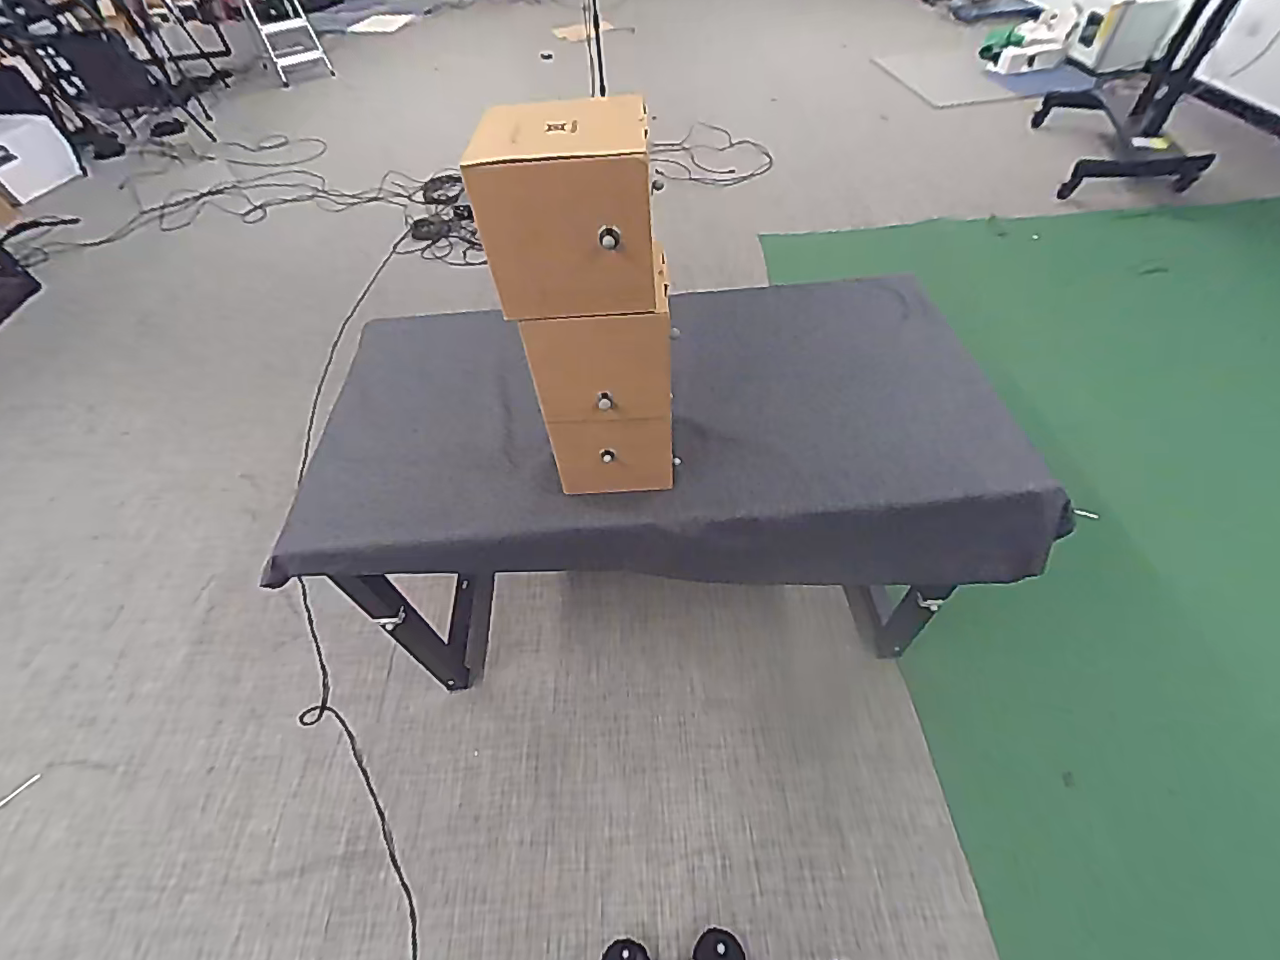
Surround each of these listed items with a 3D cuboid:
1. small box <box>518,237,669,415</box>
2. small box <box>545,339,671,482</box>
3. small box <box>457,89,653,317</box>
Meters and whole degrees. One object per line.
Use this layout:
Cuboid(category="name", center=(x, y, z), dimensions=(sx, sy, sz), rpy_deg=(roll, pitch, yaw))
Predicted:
Cuboid(category="small box", center=(-0.051, -0.203, 0.730), dimensions=(0.179, 0.176, 0.168), rpy_deg=(-3, 51, 2))
Cuboid(category="small box", center=(-0.039, -0.109, 0.859), dimensions=(0.179, 0.176, 0.168), rpy_deg=(-1, 50, 4))
Cuboid(category="small box", center=(-0.076, -0.302, 0.602), dimensions=(0.179, 0.176, 0.168), rpy_deg=(-4, 50, 4))
